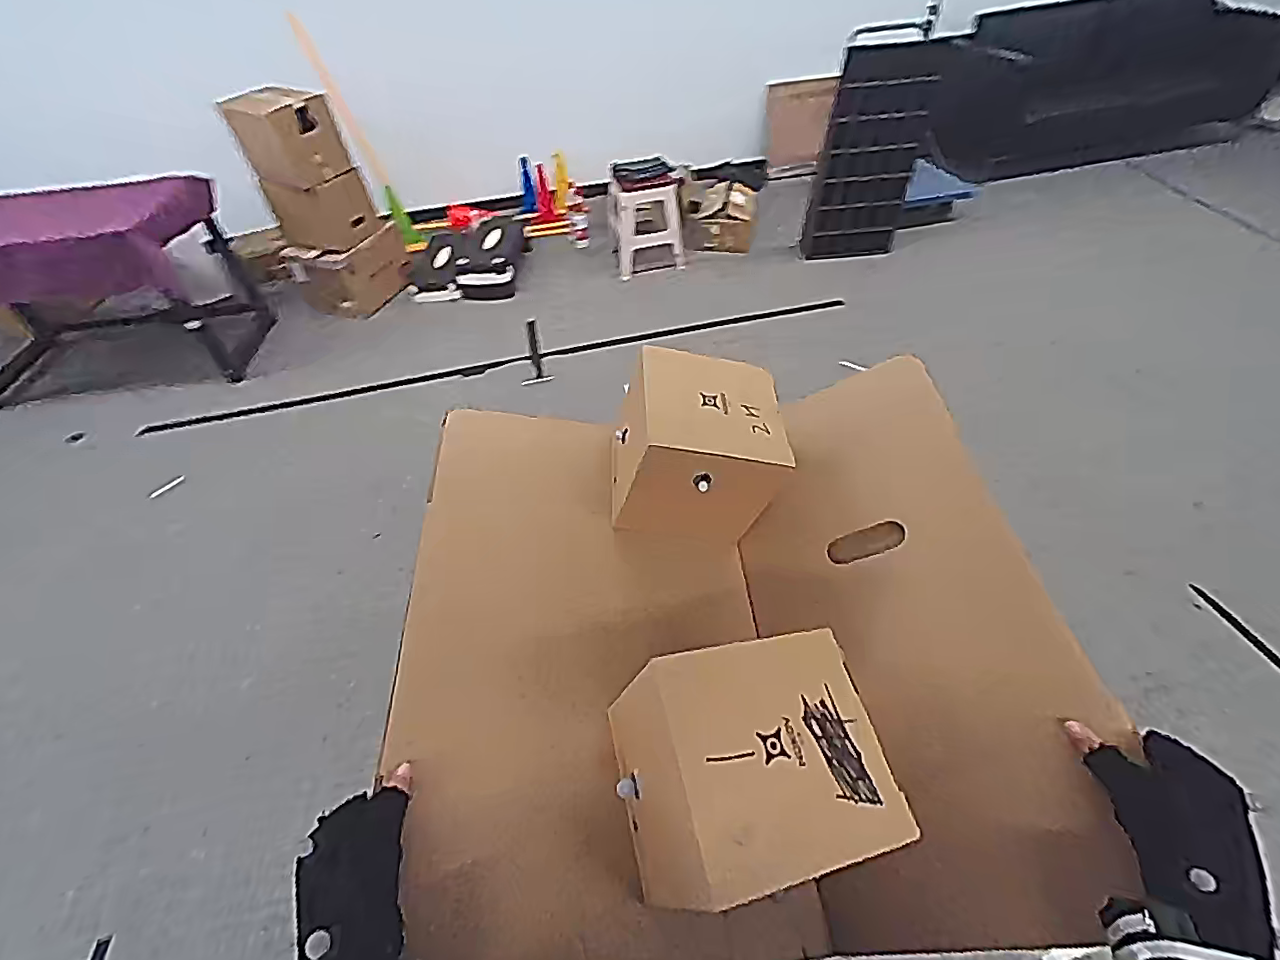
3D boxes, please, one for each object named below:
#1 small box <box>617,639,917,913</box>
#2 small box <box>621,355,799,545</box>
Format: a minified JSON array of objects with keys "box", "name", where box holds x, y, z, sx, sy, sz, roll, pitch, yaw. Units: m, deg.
[{"box":[0.093,0.259,0.484,0.179,0.176,0.168,-2,55,-20],"name":"small box"},{"box":[0.076,-0.031,0.700,0.179,0.176,0.168,9,52,-13],"name":"small box"}]
